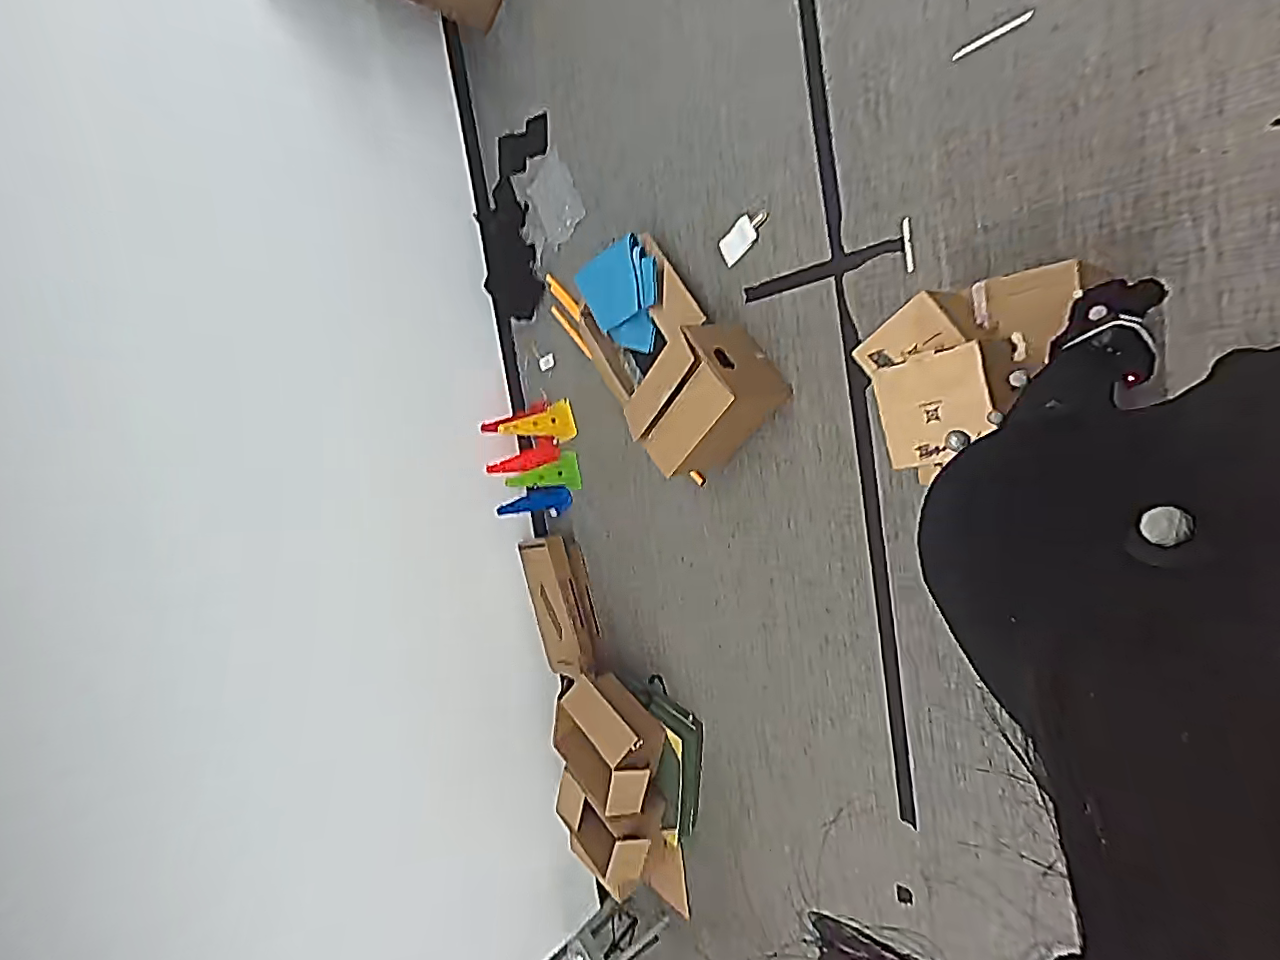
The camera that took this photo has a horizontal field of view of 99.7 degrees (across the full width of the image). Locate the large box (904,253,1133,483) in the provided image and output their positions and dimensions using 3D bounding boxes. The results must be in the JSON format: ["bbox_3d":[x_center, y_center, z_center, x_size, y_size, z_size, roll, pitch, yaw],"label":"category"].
[{"bbox_3d":[0.818,-0.222,1.169,0.320,0.320,0.408,-5,96,49],"label":"large box"}]

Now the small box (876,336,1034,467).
[{"bbox_3d":[0.525,-0.130,0.901,0.168,0.176,0.179,-12,92,50],"label":"small box"}]
